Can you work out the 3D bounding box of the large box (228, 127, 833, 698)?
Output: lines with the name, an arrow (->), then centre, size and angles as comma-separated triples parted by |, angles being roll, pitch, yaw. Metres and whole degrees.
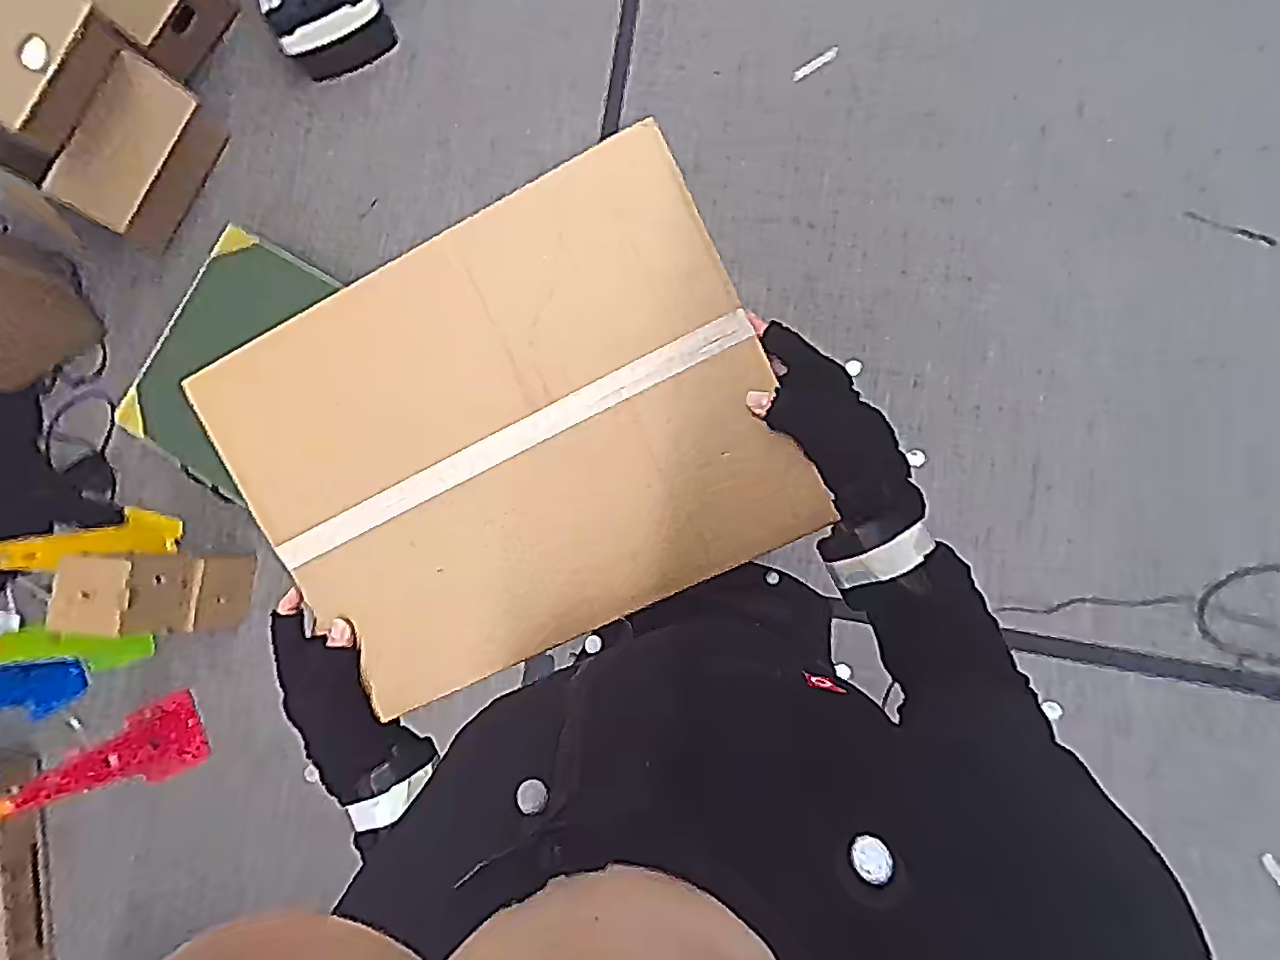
large box -> -0.082, -0.050, 0.566 | 0.408, 0.320, 0.320 | -24, 96, 8
